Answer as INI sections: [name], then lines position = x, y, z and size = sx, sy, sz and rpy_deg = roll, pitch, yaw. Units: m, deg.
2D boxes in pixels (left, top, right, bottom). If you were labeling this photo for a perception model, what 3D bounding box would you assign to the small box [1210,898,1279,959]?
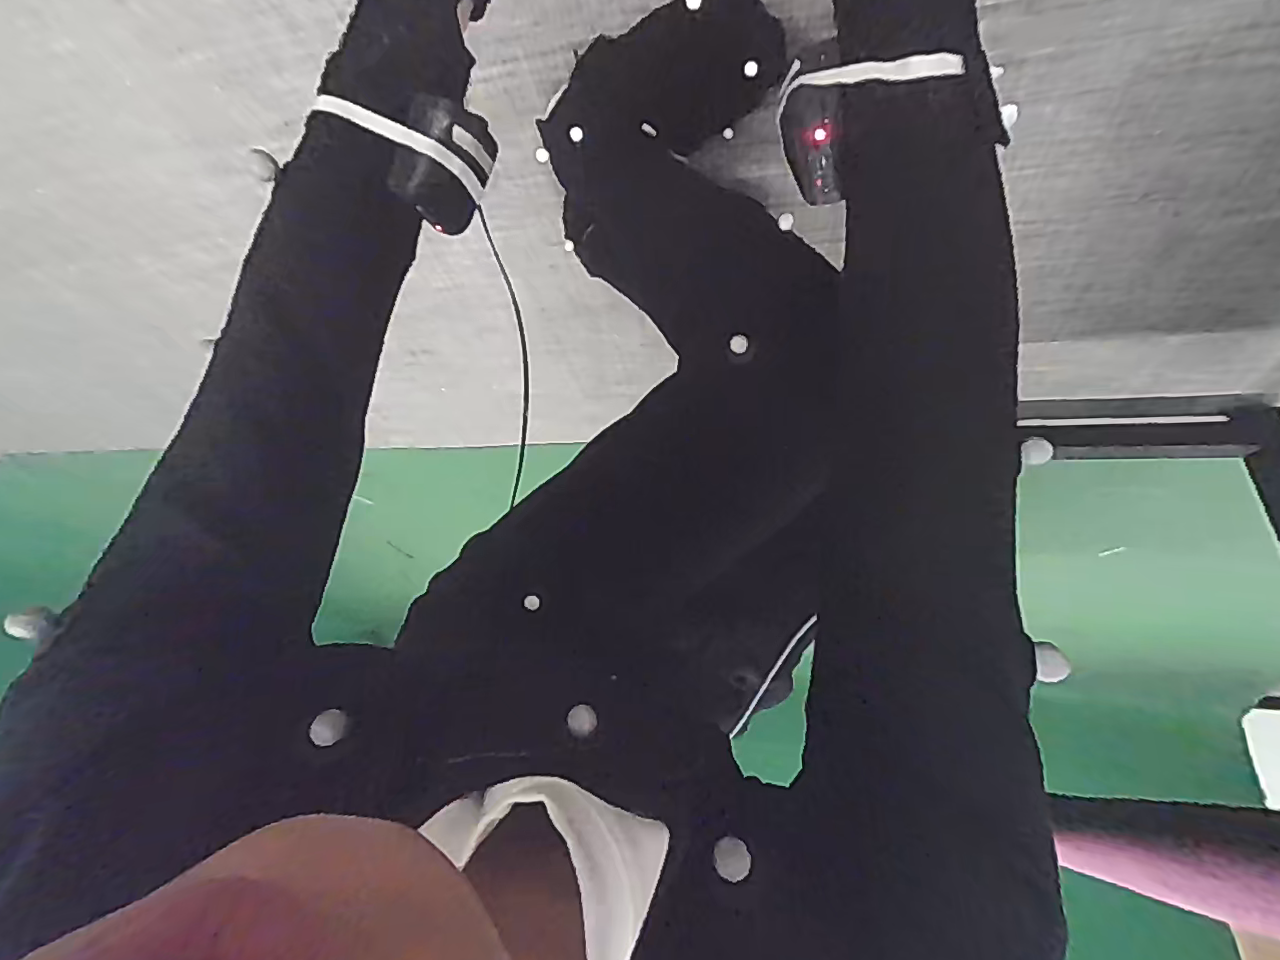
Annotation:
[small box]
position = 0.522, 0.381, 0.334
size = 0.168, 0.176, 0.179
rpy_deg = 0, 152, 9
